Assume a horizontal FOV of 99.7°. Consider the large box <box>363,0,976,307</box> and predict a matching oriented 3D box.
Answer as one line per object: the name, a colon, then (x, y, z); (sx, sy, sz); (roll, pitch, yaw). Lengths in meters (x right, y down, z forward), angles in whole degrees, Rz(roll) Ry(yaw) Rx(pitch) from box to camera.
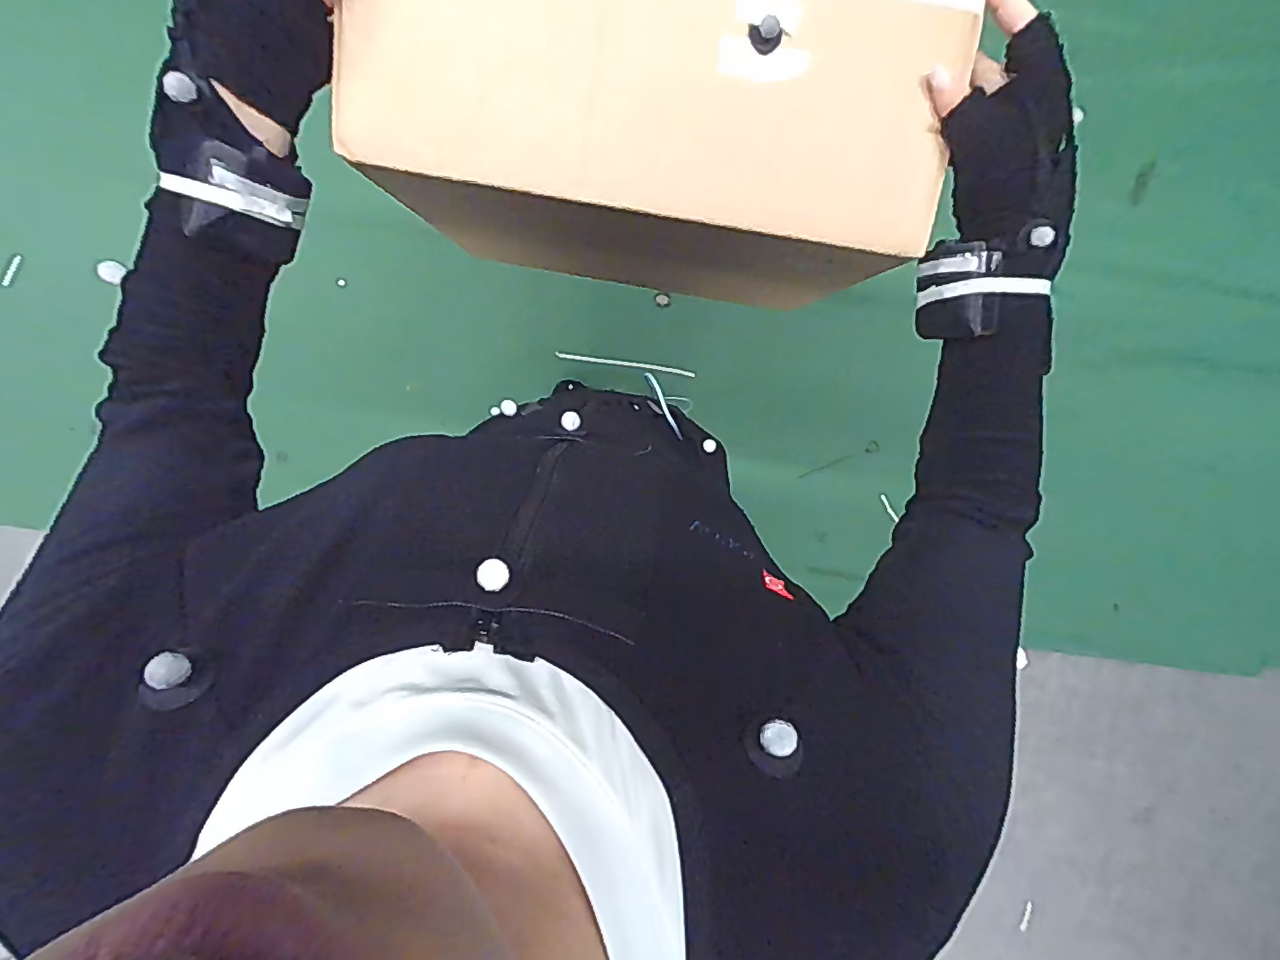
large box: (0.023, -0.365, 0.498); (0.408, 0.320, 0.320); (9, 101, -3)
